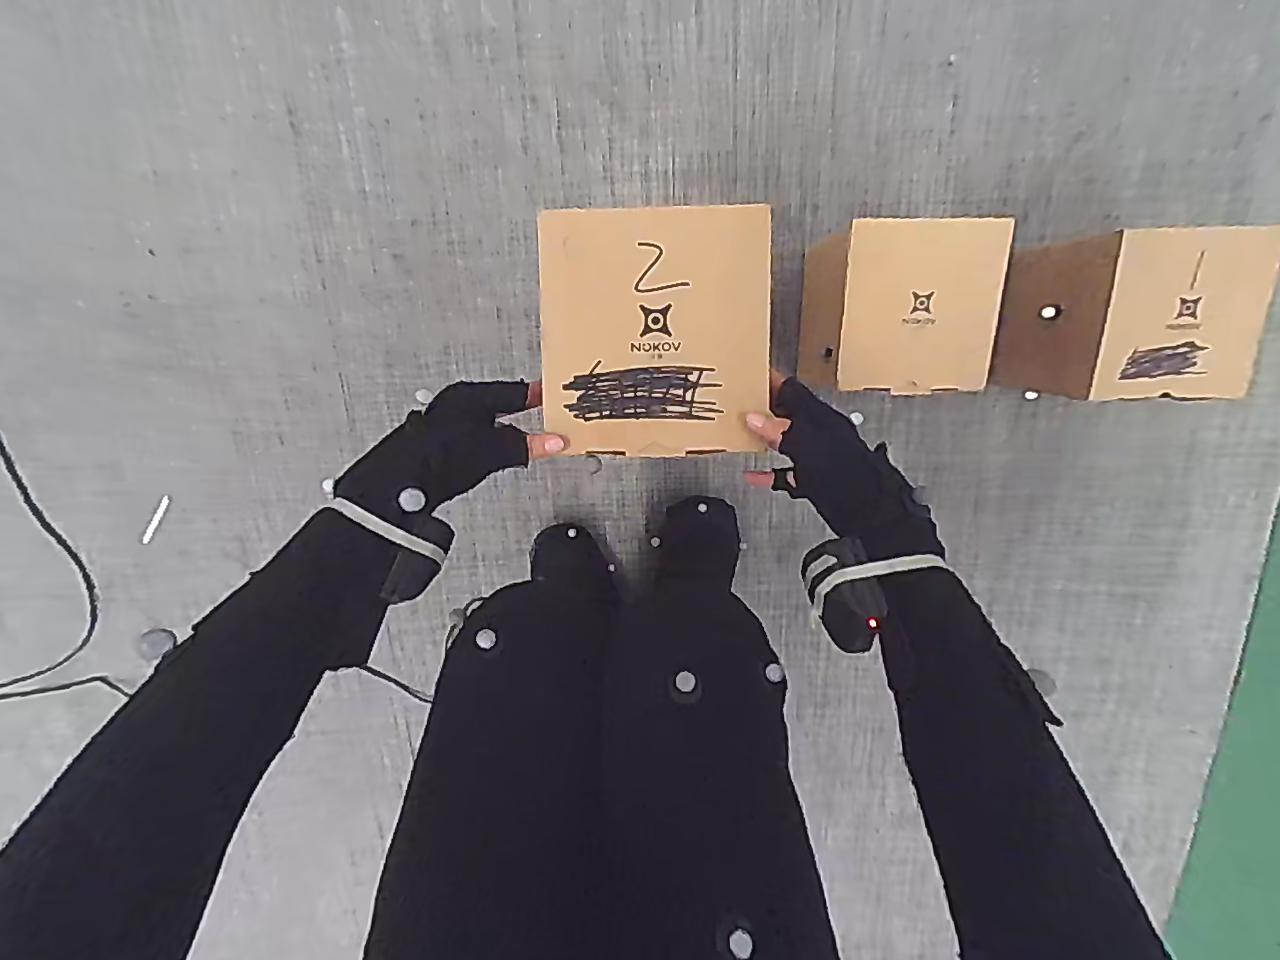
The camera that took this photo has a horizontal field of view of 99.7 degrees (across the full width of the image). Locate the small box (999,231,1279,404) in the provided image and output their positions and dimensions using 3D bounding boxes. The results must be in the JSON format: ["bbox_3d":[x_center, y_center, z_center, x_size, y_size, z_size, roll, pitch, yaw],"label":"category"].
[{"bbox_3d":[0.567,-0.188,0.644,0.168,0.176,0.179,0,104,1],"label":"small box"}]

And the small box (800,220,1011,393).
[{"bbox_3d":[0.298,-0.199,0.648,0.168,0.176,0.179,0,105,1],"label":"small box"}]
